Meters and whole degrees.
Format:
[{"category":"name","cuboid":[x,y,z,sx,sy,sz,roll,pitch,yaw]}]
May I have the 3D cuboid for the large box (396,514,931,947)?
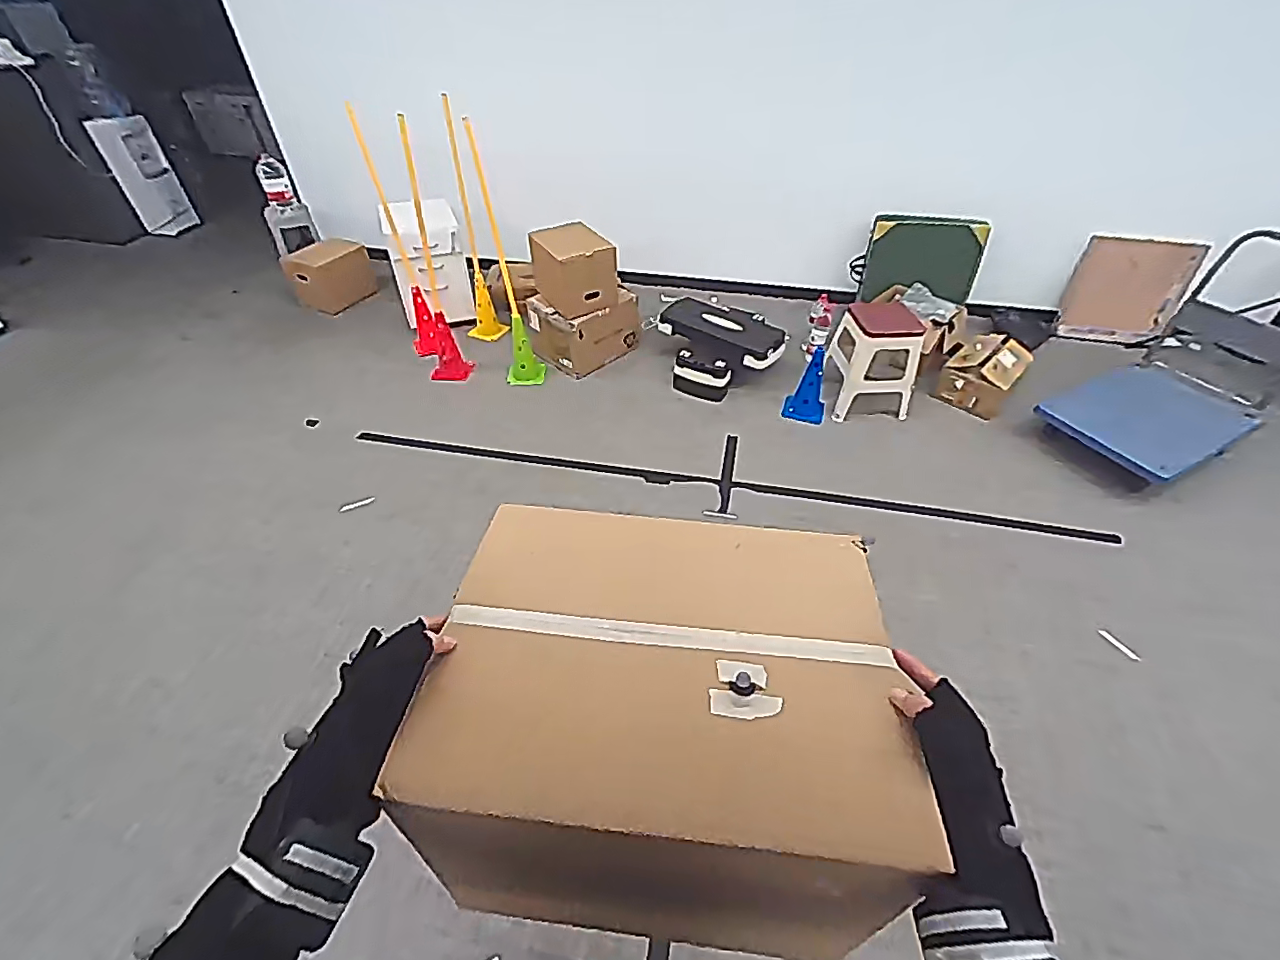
[{"category":"large box","cuboid":[0.020,0.266,0.601,0.408,0.320,0.320,5,40,4]}]
